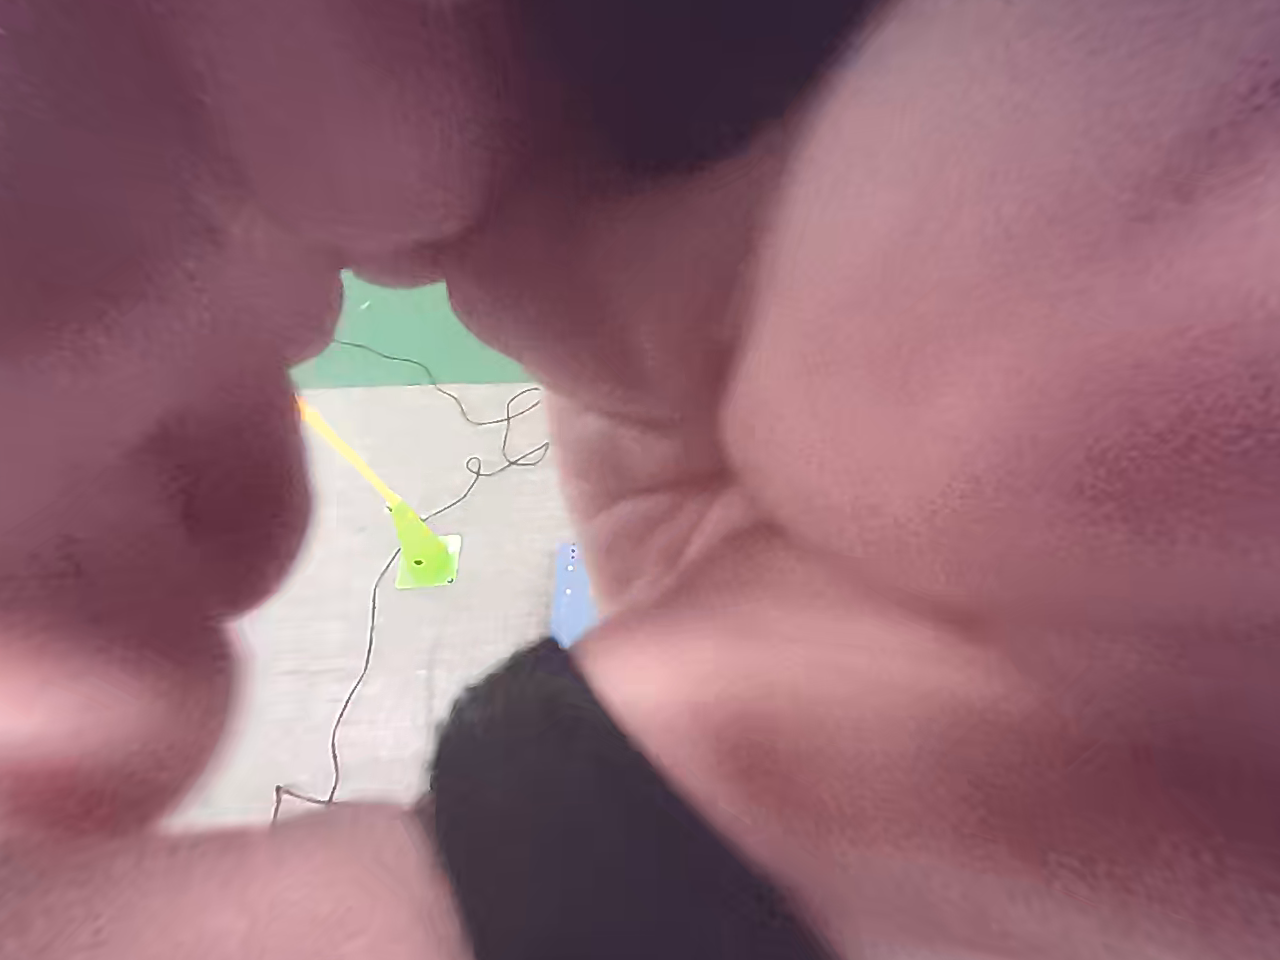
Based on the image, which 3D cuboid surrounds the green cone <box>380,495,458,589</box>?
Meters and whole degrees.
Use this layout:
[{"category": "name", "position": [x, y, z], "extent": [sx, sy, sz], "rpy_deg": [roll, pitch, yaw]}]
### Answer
[{"category": "green cone", "position": [-0.741, 0.170, 1.741], "extent": [0.202, 0.368, 0.200], "rpy_deg": [-6, 50, -3]}]
